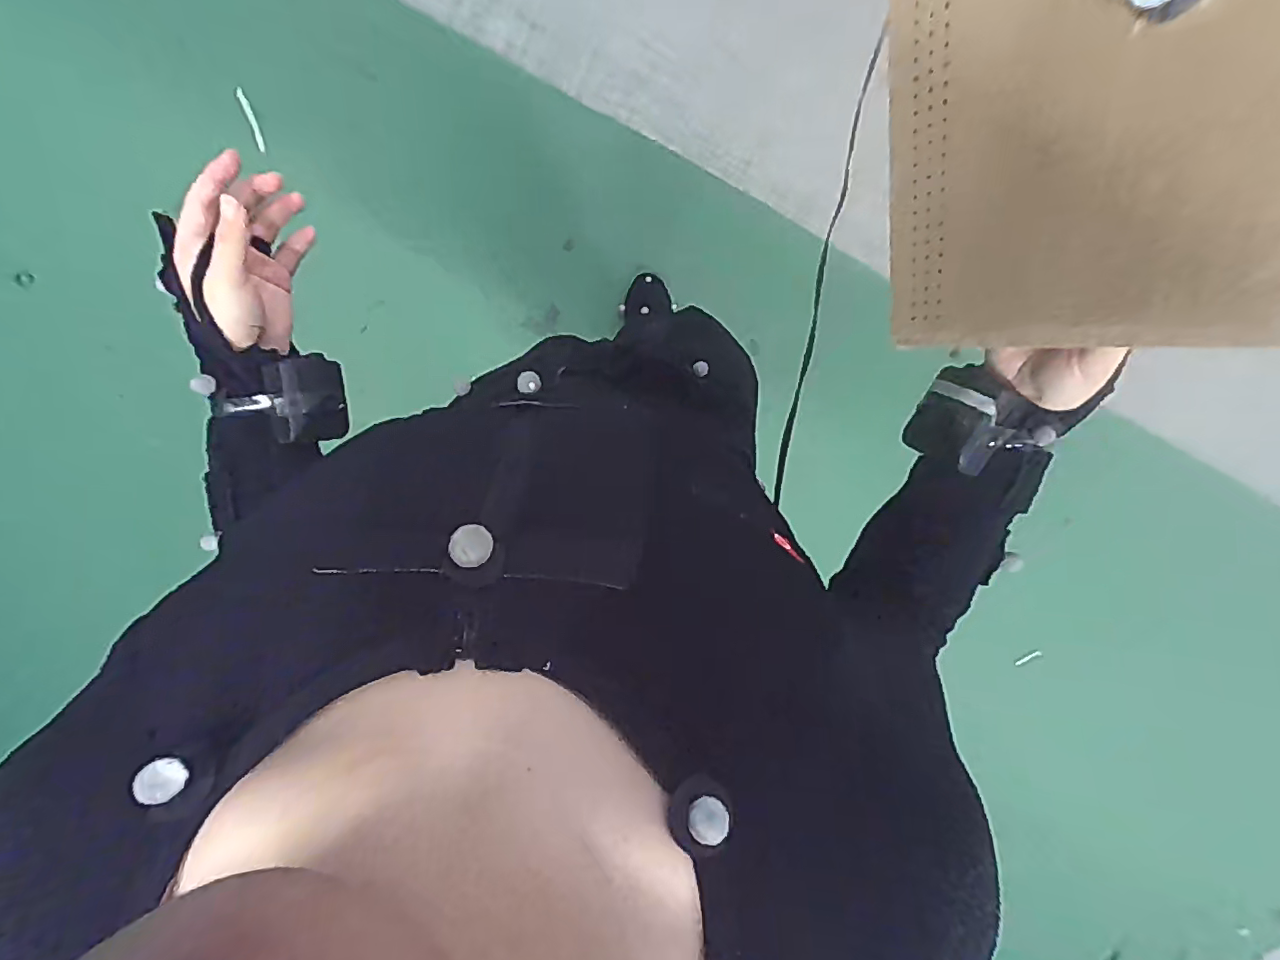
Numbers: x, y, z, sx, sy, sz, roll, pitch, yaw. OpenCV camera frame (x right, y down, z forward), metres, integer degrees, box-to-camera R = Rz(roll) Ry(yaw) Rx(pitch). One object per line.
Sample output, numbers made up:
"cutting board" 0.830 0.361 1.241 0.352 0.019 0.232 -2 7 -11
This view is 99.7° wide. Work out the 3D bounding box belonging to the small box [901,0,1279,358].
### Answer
"small box" 0.225 -0.147 0.209 0.168 0.176 0.179 -16 108 -20
